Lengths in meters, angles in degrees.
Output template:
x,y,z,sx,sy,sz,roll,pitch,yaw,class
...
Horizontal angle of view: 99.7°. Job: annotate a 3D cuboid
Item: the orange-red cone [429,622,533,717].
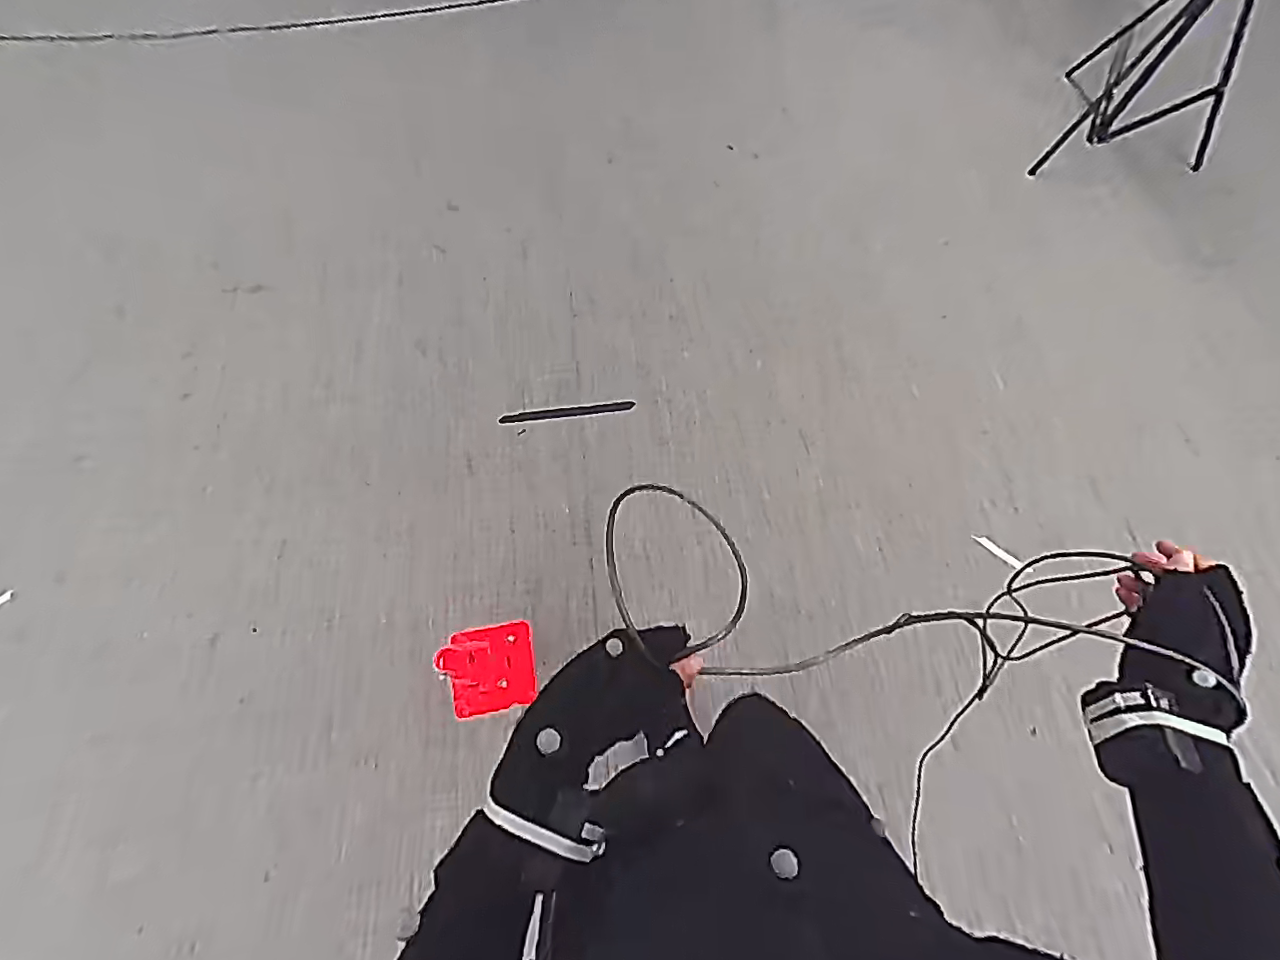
x,y,z,sx,sy,sz,roll,pitch,yaw,class
-0.363,0.388,1.140,0.199,0.360,0.198,-10,68,-2,orange-red cone
